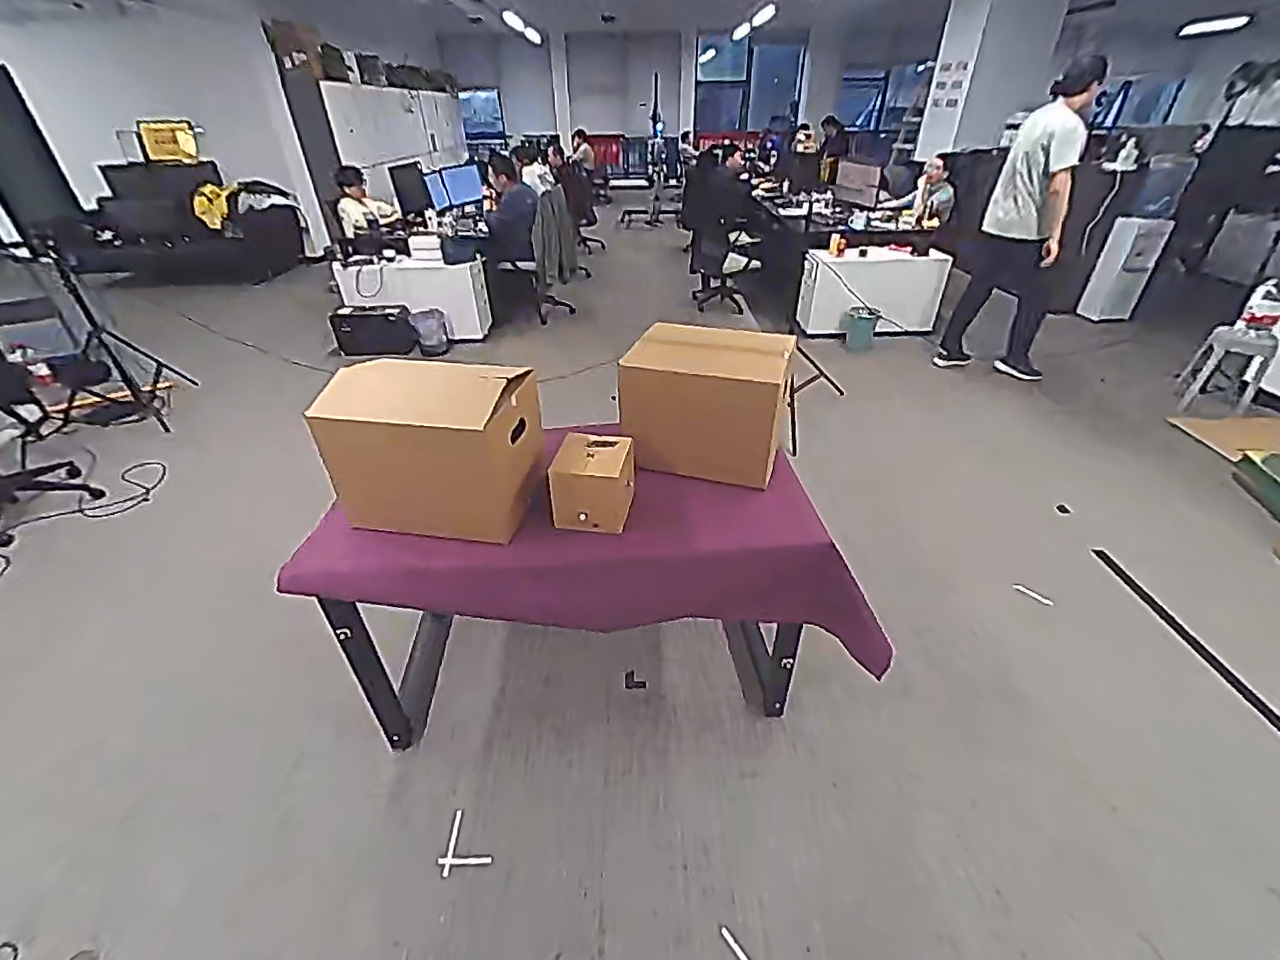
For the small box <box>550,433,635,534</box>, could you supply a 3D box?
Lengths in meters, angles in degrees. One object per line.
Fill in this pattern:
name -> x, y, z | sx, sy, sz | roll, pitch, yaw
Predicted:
small box -> -0.107, 0.007, 1.308 | 0.168, 0.176, 0.179 | 5, 35, 9
